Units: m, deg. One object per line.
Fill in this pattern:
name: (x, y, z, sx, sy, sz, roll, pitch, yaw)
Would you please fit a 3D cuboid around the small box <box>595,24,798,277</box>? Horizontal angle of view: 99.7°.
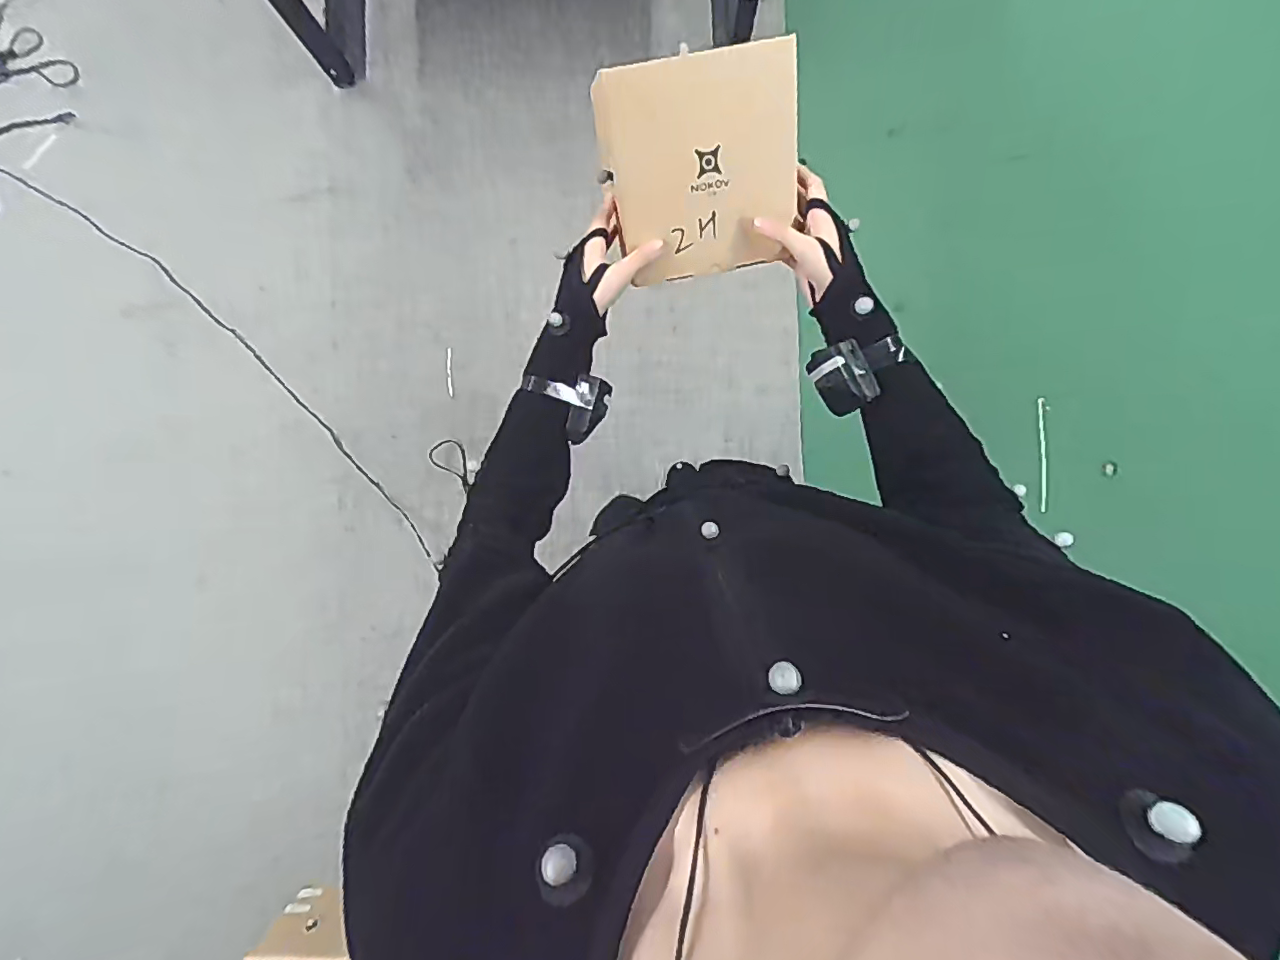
small box: (0.051, -0.323, 0.548, 0.168, 0.176, 0.179, -11, 123, 0)
